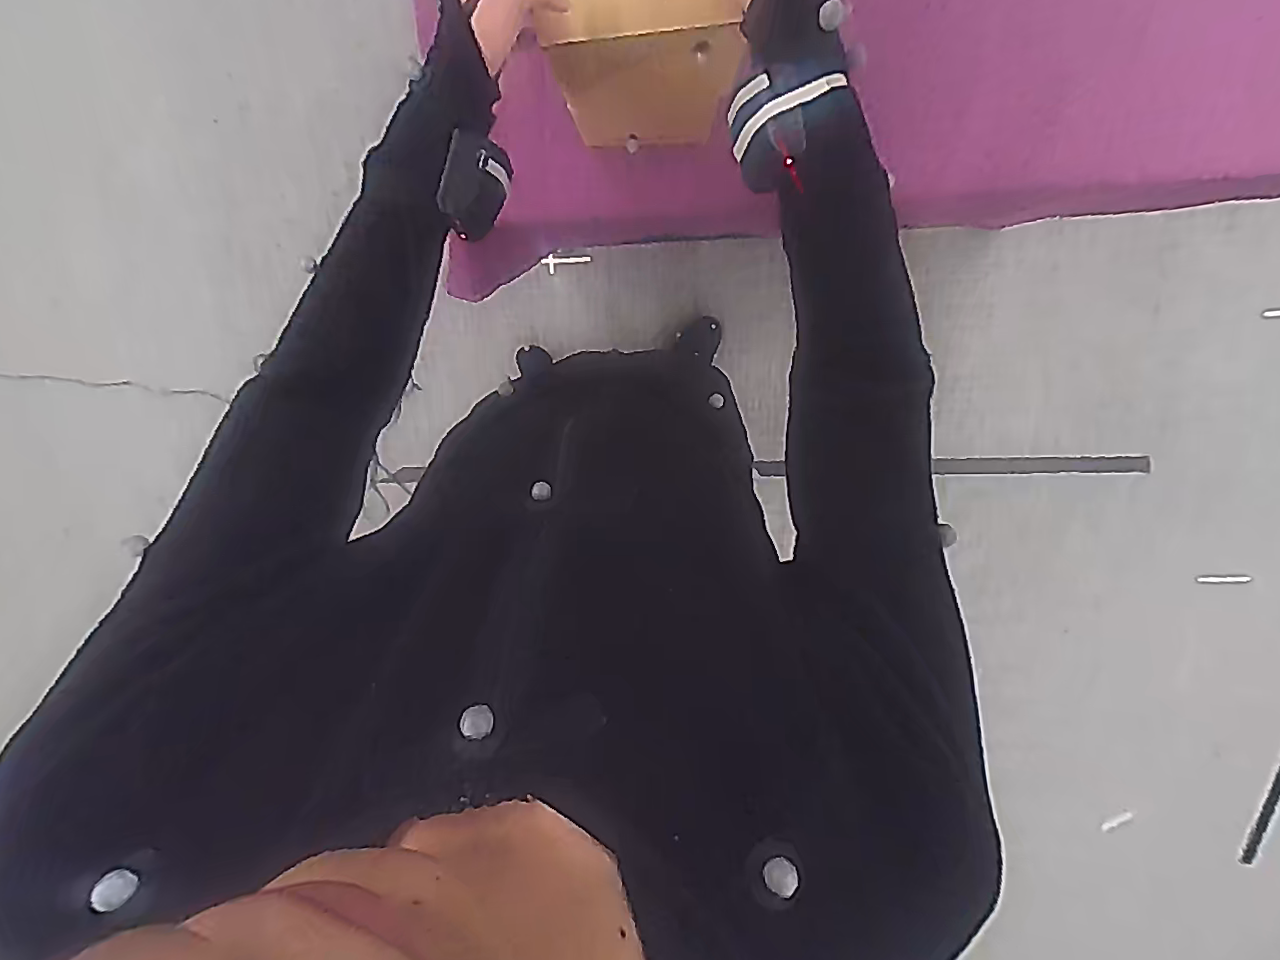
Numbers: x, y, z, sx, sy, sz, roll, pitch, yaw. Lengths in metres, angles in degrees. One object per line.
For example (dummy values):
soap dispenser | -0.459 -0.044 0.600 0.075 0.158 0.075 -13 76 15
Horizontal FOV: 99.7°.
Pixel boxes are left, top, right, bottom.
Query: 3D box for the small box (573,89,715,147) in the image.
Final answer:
small box | 0.000 -0.508 0.624 0.168 0.176 0.179 -1 109 4

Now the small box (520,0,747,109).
small box | -0.007 -0.448 0.471 0.179 0.176 0.168 -5 109 4
